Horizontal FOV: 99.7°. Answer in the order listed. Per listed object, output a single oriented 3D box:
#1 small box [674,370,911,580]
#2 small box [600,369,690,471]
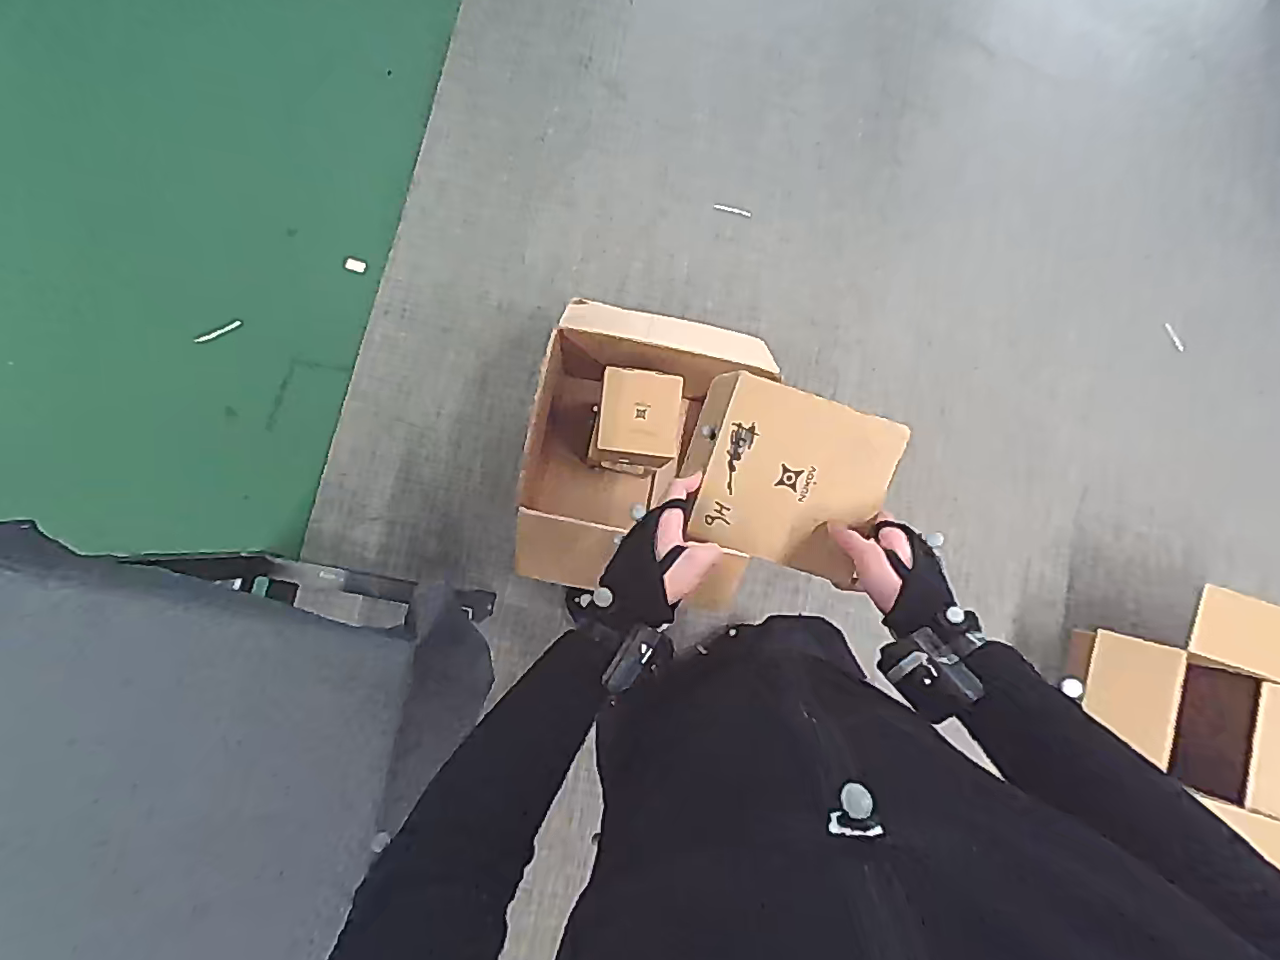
[{"bbox_3d":[0.149,-0.013,0.596,0.179,0.176,0.168,18,97,-4],"label":"small box"},{"bbox_3d":[0.005,-0.124,1.178,0.168,0.176,0.179,6,83,-7],"label":"small box"}]
